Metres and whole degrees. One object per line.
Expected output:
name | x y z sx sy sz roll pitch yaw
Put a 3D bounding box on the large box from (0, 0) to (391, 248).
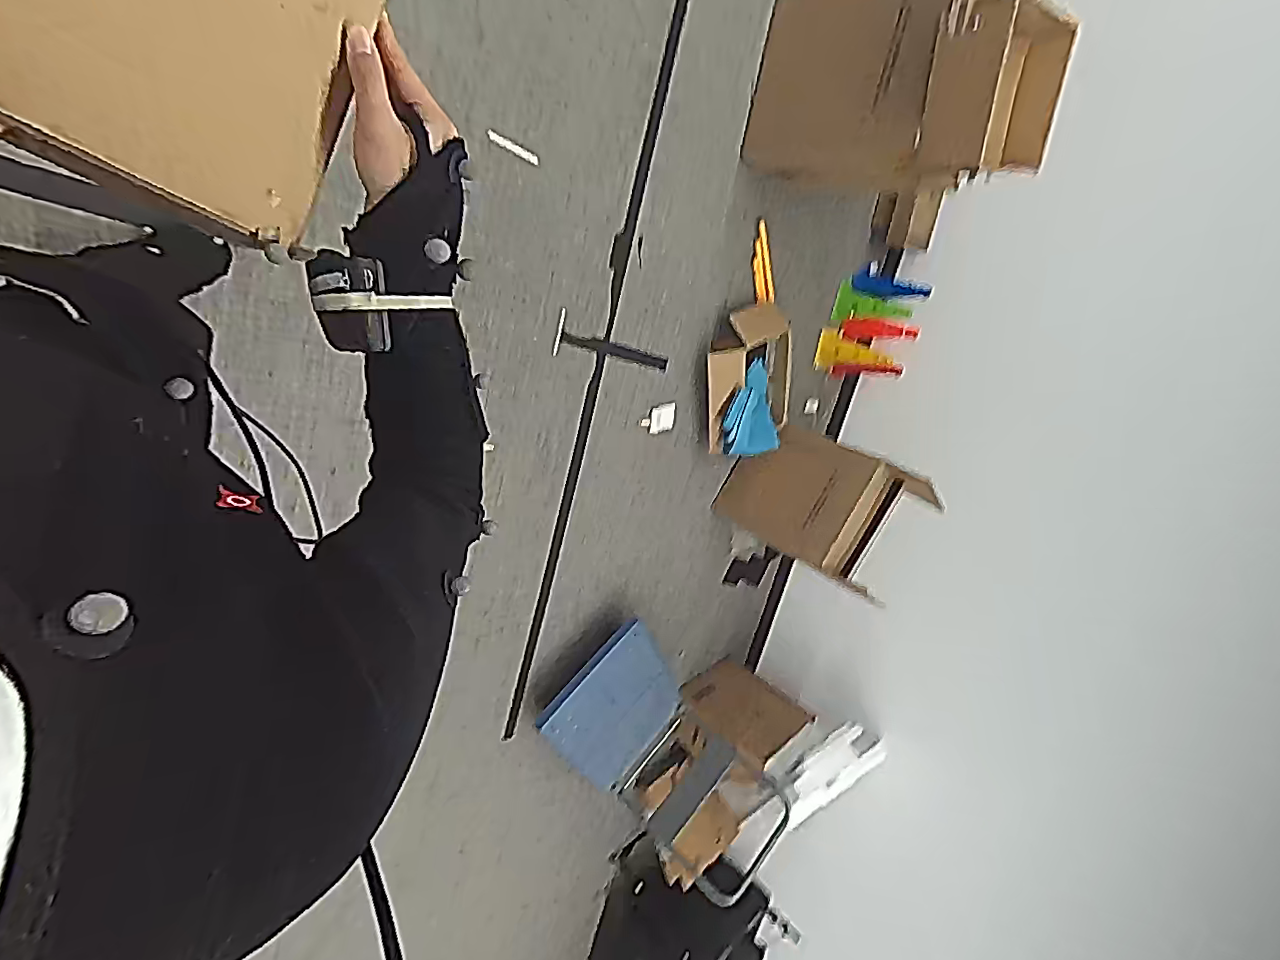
large box | -0.337 -0.411 0.308 0.320 0.320 0.408 16 100 -49
